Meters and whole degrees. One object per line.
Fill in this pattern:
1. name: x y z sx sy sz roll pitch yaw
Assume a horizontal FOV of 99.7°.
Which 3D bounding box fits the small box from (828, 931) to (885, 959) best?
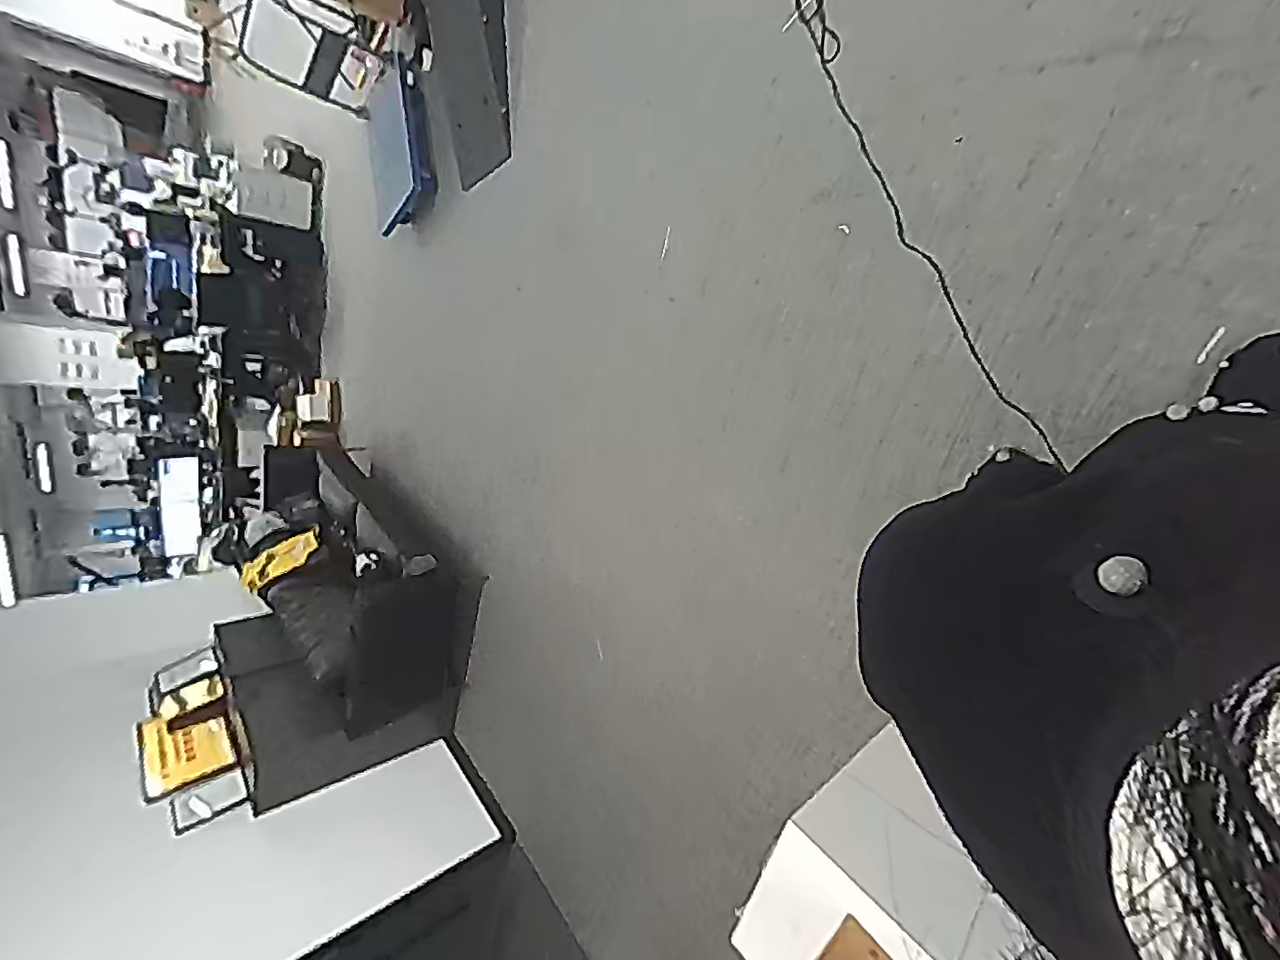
1. small box: 0.360 0.928 0.905 0.168 0.176 0.179 35 118 39
